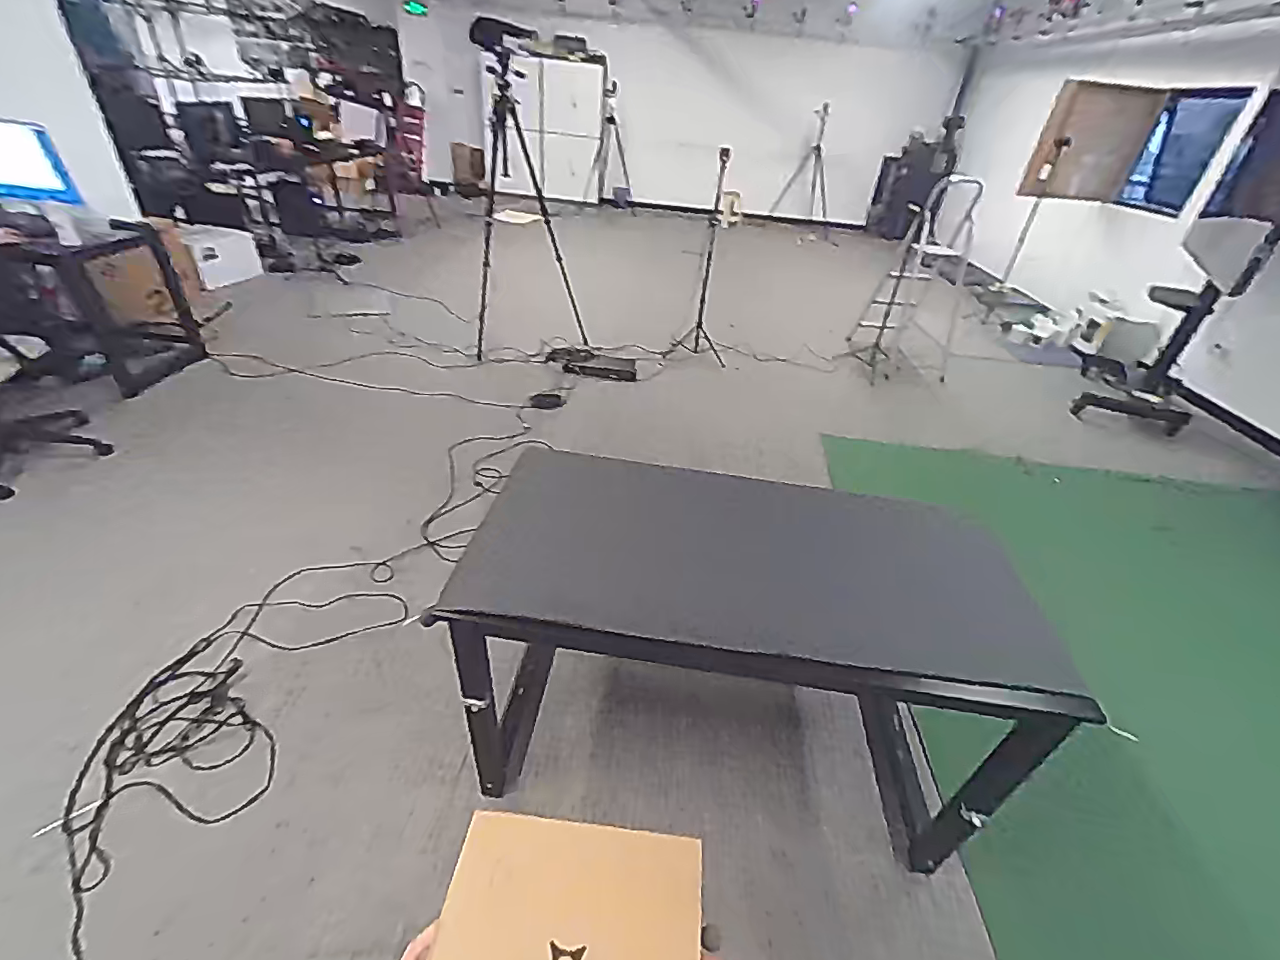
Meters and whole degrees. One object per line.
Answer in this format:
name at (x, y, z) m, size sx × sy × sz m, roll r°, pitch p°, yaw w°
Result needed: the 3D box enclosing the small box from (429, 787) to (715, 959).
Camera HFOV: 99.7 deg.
small box at (-0.044, 0.343, 0.359) m, size 0.168 × 0.176 × 0.179 m, roll 6°, pitch 37°, yaw 5°
